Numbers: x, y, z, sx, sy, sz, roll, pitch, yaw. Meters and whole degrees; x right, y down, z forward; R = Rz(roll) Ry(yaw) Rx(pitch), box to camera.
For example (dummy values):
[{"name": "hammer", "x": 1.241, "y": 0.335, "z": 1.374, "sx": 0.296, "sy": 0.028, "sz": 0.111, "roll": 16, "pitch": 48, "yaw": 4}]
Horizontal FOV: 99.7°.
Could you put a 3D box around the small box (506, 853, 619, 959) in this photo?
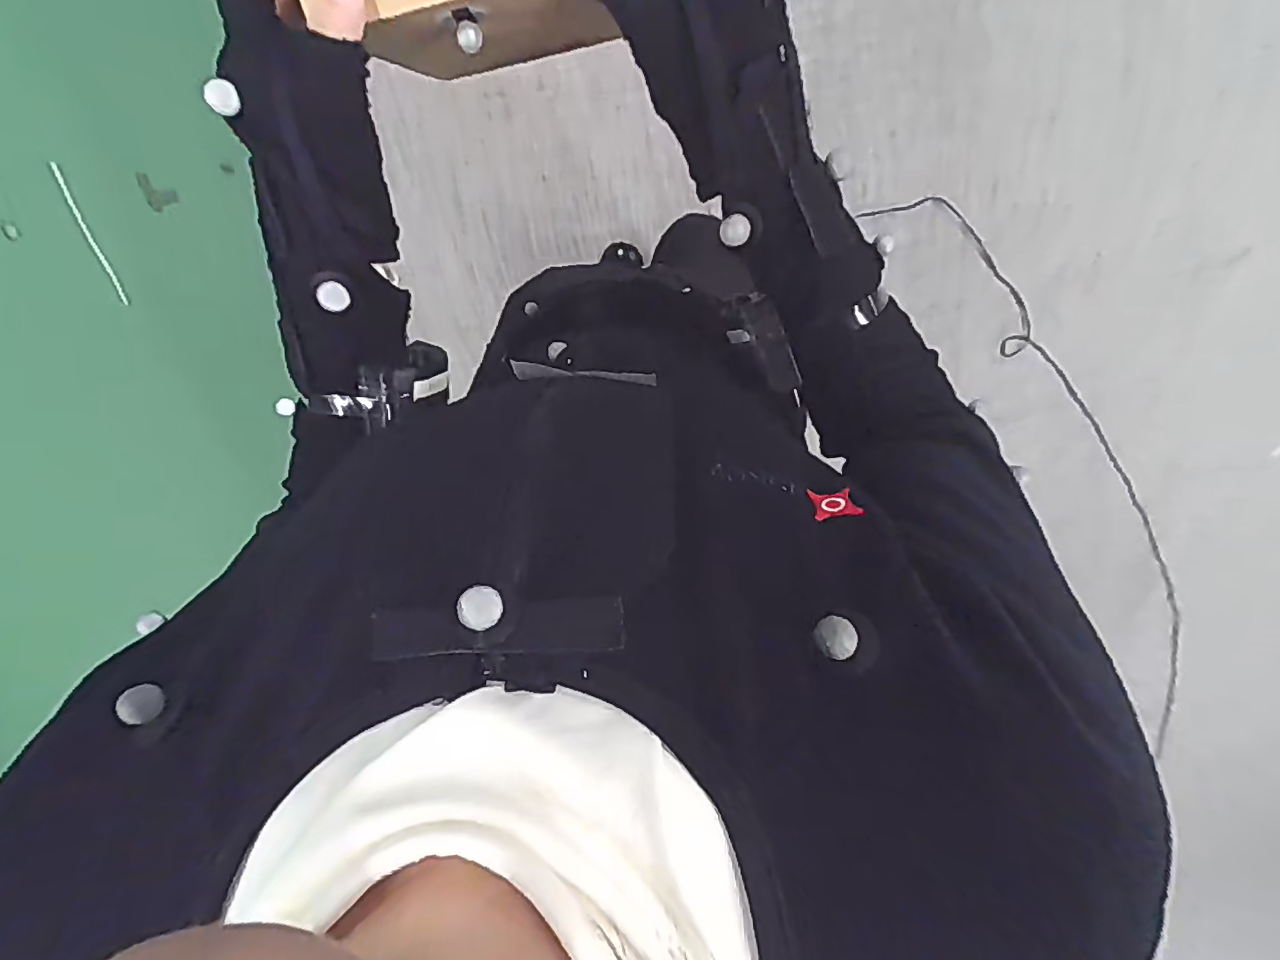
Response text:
[{"name": "small box", "x": -0.137, "y": 0.856, "z": 1.034, "sx": 0.168, "sy": 0.176, "sz": 0.179, "roll": -10, "pitch": 114, "yaw": 4}]

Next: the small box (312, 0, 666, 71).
[{"name": "small box", "x": -0.078, "y": -0.331, "z": 0.261, "sx": 0.168, "sy": 0.176, "sz": 0.179, "roll": -8, "pitch": 119, "yaw": 7}]
